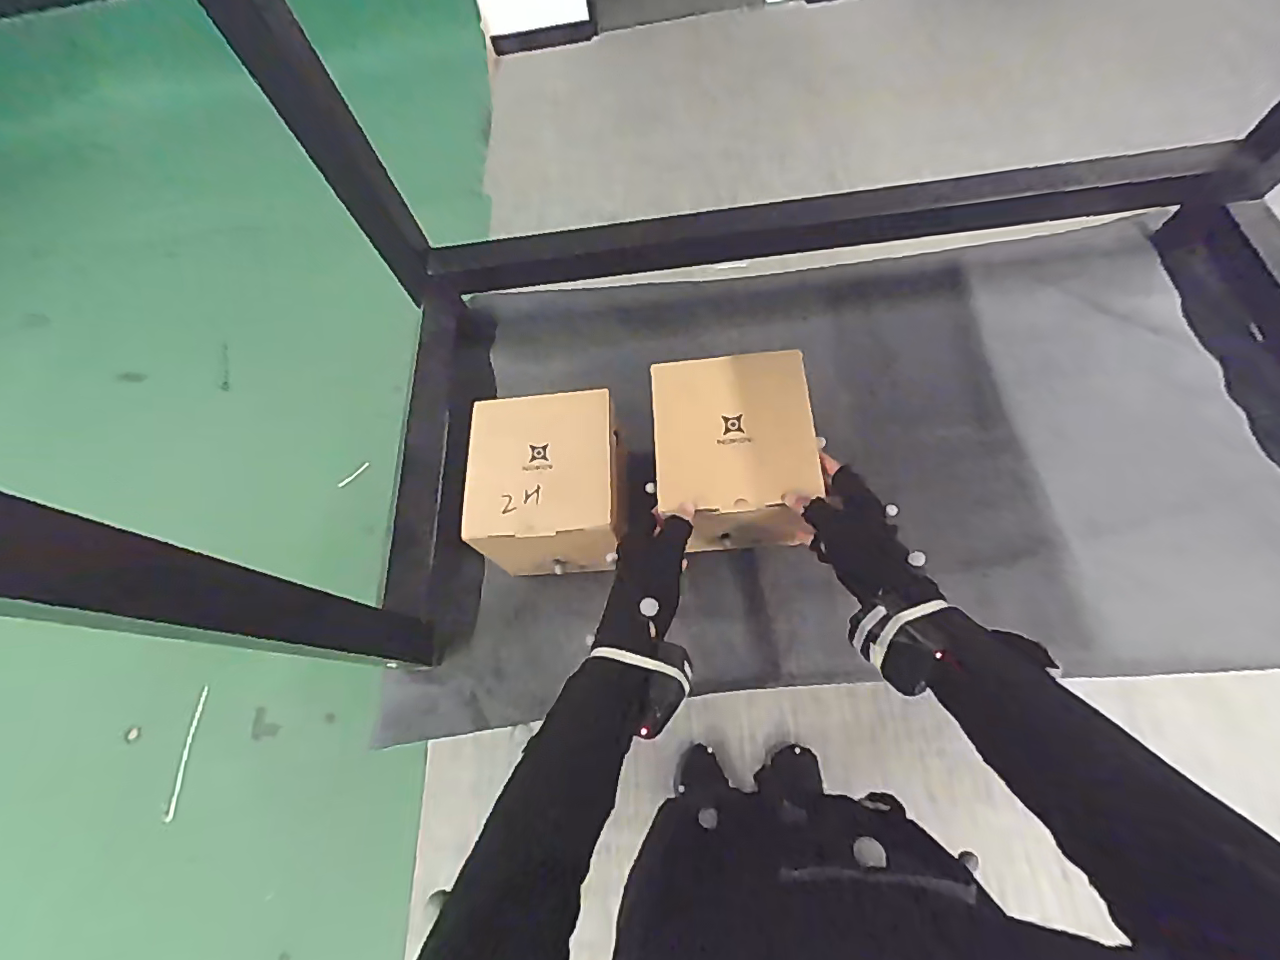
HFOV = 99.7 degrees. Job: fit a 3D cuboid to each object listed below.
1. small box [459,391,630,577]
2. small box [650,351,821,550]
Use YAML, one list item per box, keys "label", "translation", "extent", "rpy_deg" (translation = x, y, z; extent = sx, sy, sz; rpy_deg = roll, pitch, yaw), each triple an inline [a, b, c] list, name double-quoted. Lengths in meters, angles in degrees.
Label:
- label: "small box"
  translation: [-0.106, 0.012, 0.679]
  extent: [0.168, 0.176, 0.179]
  rpy_deg: [-5, 65, 6]
- label: "small box"
  translation: [0.102, -0.026, 0.637]
  extent: [0.168, 0.176, 0.179]
  rpy_deg: [-5, 69, 6]
